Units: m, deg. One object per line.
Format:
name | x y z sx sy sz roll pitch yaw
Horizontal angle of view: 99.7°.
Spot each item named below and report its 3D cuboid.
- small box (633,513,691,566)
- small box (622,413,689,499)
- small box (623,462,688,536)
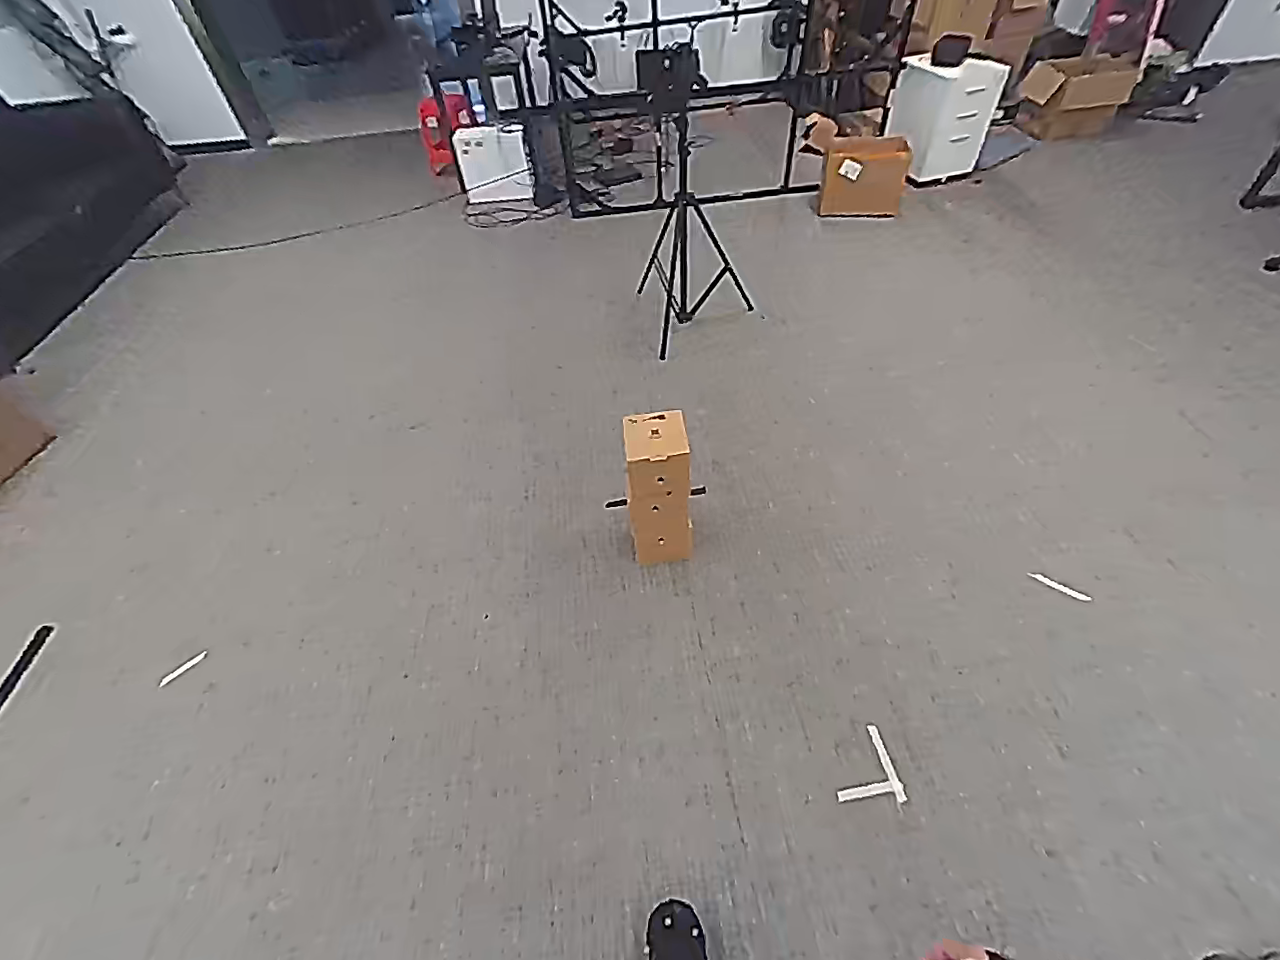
small box | 0.065 0.158 1.738 0.179 0.176 0.168 -8 49 -2
small box | 0.045 -0.060 1.492 0.168 0.176 0.179 -6 49 0
small box | 0.047 0.052 1.612 0.179 0.176 0.168 -6 49 0
